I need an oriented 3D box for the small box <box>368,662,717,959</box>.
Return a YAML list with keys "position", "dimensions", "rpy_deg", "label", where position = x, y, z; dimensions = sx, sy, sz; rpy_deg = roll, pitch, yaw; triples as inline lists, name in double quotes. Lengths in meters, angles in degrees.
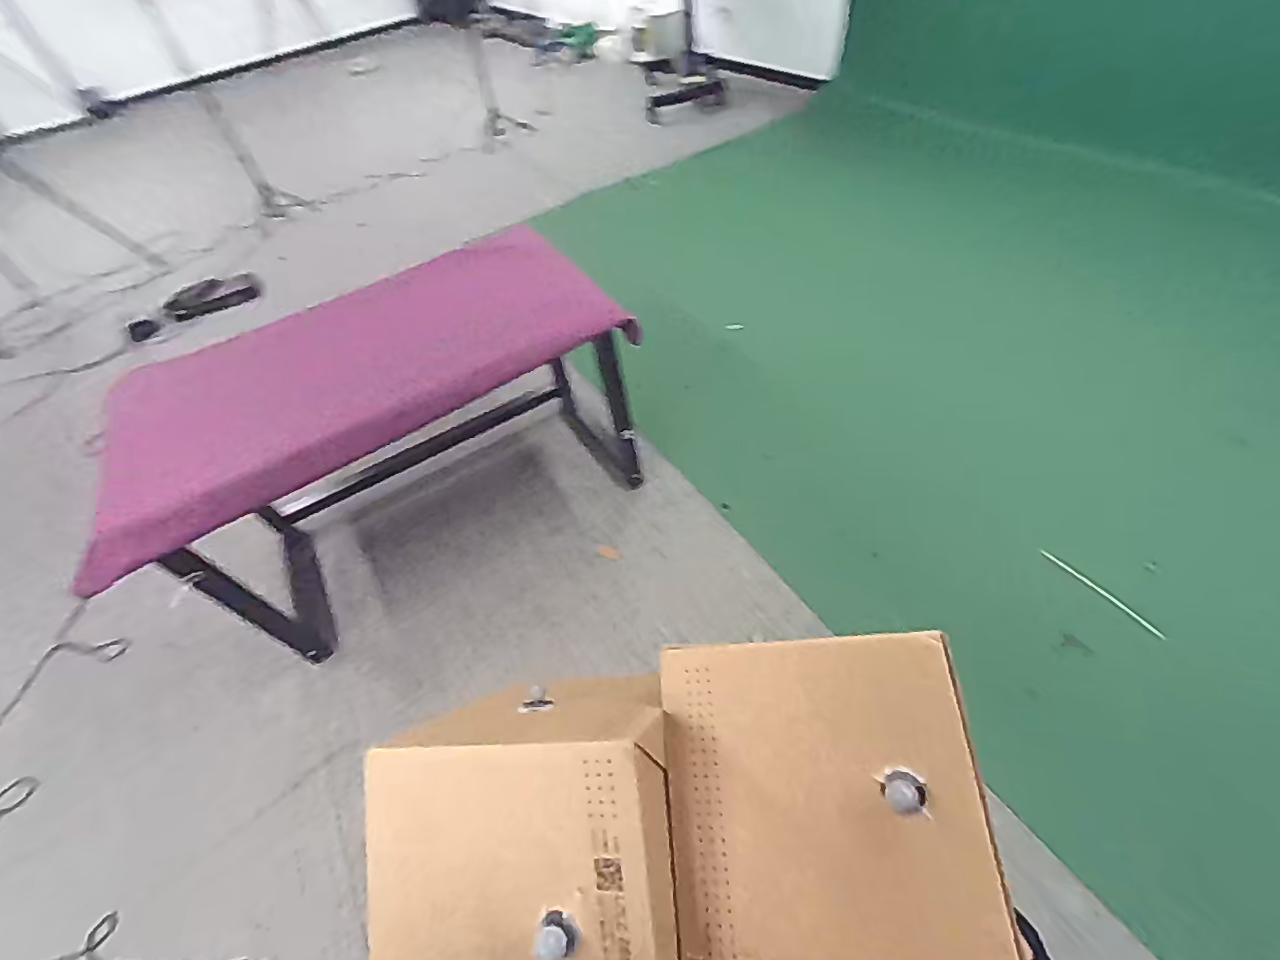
- position: [-0.048, 0.223, 0.362]
  dimensions: [0.176, 0.179, 0.168]
  rpy_deg: [-10, 79, 14]
  label: "small box"
